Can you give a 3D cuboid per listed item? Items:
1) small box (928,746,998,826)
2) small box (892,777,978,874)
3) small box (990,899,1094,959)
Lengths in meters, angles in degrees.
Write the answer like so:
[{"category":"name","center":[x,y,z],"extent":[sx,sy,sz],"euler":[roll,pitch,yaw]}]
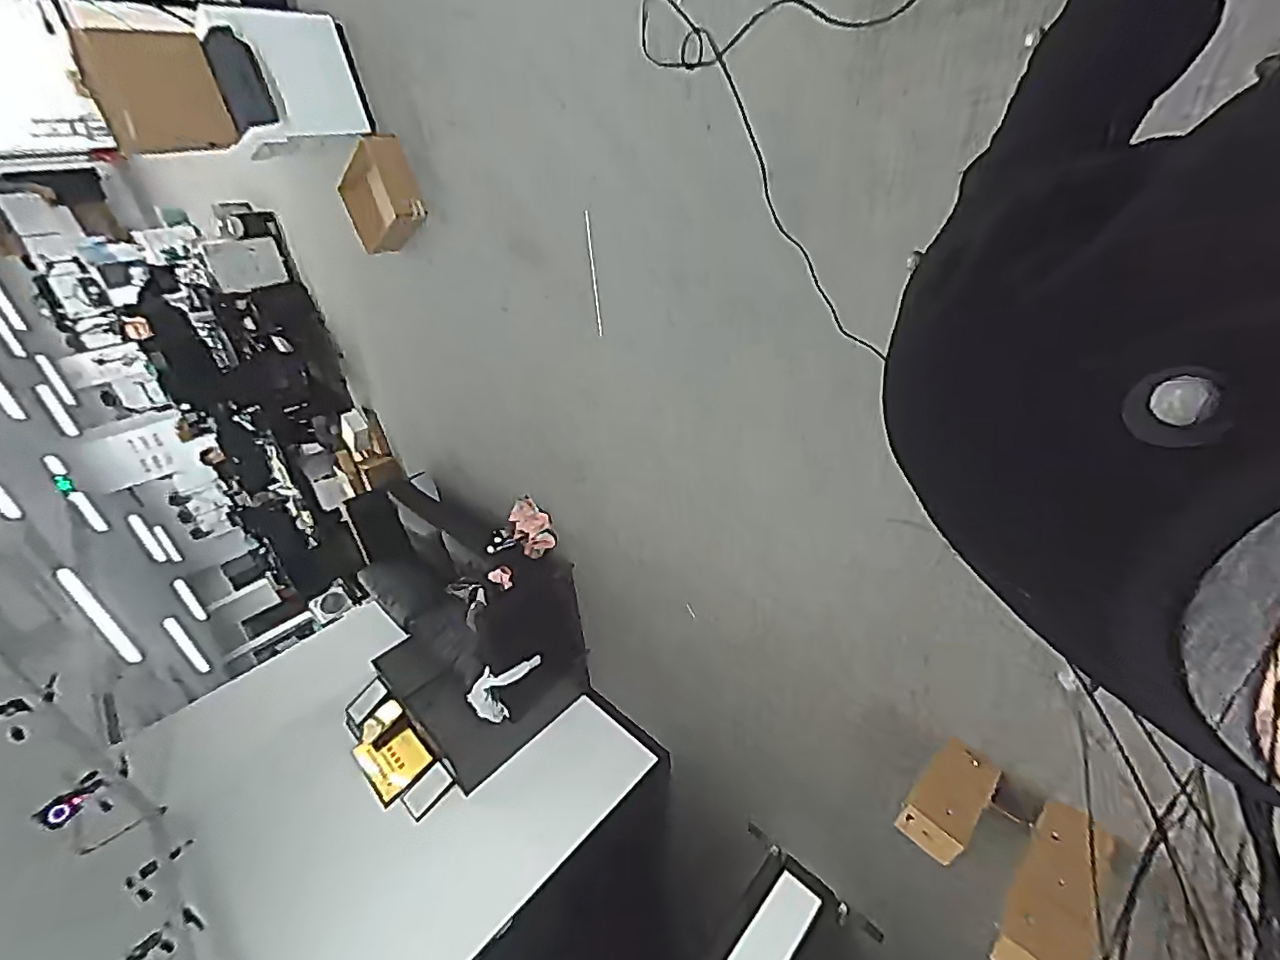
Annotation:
[{"category":"small box","center":[1.088,1.060,1.847],"extent":[0.168,0.176,0.179],"euler":[32,135,32]},{"category":"small box","center":[0.961,1.117,1.757],"extent":[0.179,0.176,0.168],"euler":[32,135,31]},{"category":"small box","center":[1.078,1.283,1.455],"extent":[0.179,0.176,0.168],"euler":[22,130,38]}]
